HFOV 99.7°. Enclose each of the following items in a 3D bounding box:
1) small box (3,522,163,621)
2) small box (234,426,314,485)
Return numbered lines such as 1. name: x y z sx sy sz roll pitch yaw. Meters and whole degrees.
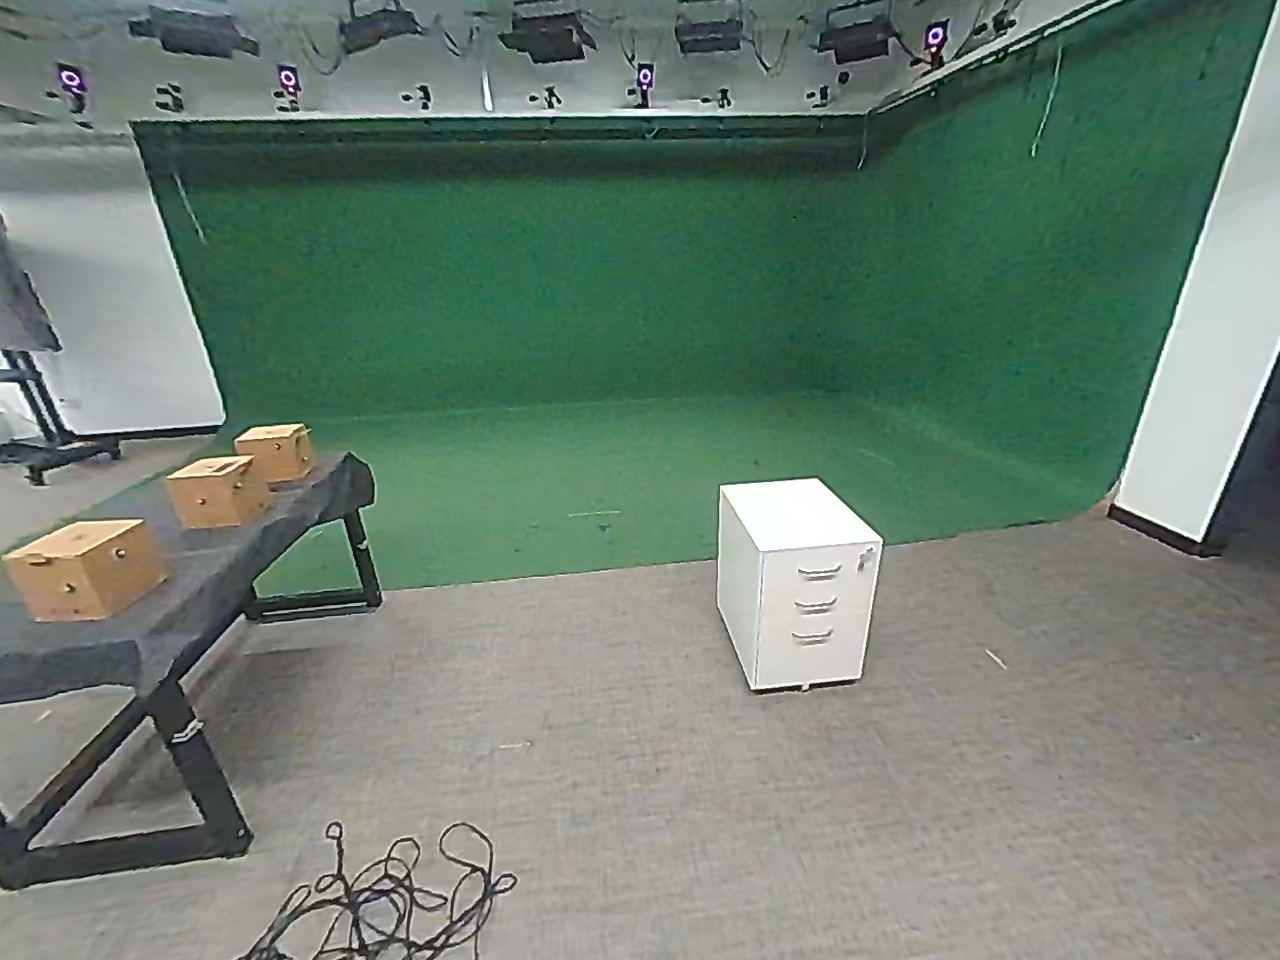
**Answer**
1. small box: -1.267 0.212 1.250 0.168 0.176 0.179 -1 21 0
2. small box: -1.338 -0.090 1.991 0.179 0.176 0.168 -7 23 -11
